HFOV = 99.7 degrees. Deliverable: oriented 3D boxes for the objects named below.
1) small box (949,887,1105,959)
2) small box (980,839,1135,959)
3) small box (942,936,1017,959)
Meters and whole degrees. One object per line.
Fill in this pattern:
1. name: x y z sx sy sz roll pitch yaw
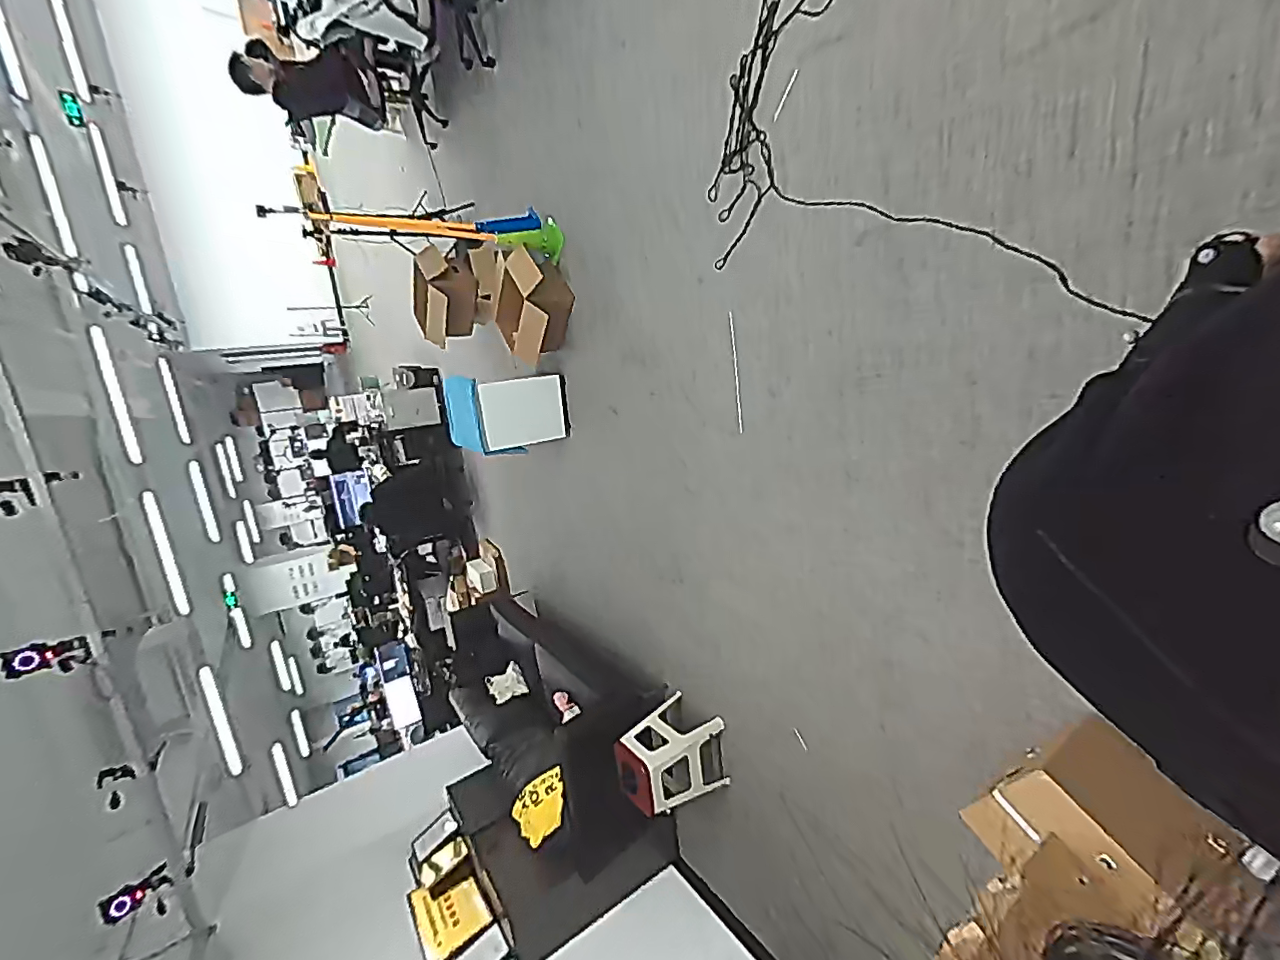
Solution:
1. small box: 0.764 0.942 1.058 0.179 0.176 0.168 50 140 33
2. small box: 0.891 0.914 1.161 0.179 0.176 0.168 48 140 37
3. small box: 0.628 0.977 0.977 0.168 0.176 0.179 49 140 36
